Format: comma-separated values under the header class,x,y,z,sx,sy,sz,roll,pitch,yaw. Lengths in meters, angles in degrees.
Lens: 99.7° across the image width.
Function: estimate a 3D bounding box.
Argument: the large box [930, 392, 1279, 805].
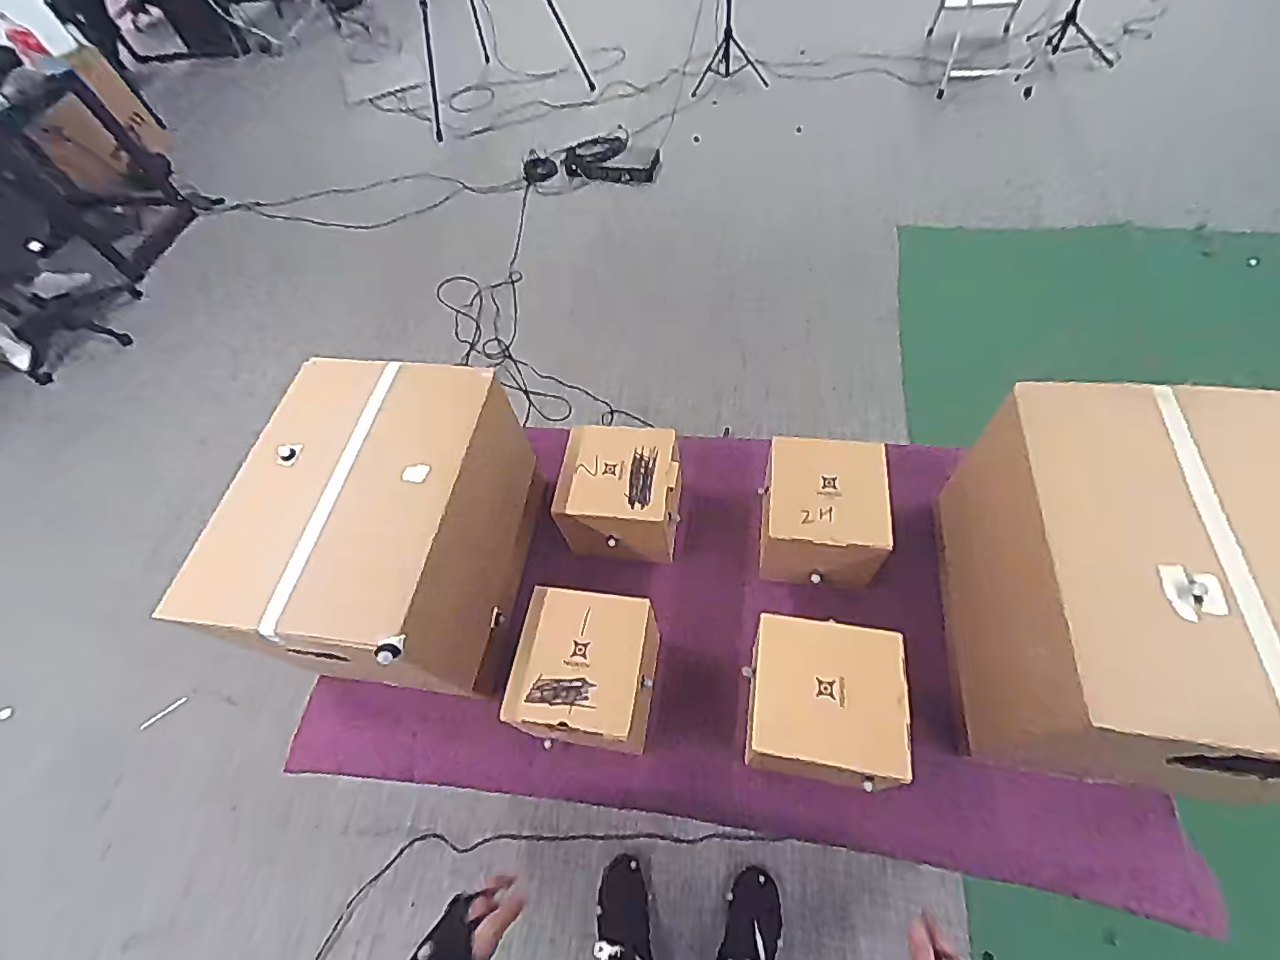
class,x,y,z,sx,sy,sz,roll,pitch,yaw
large box,0.594,0.147,0.672,0.320,0.320,0.408,5,60,11
